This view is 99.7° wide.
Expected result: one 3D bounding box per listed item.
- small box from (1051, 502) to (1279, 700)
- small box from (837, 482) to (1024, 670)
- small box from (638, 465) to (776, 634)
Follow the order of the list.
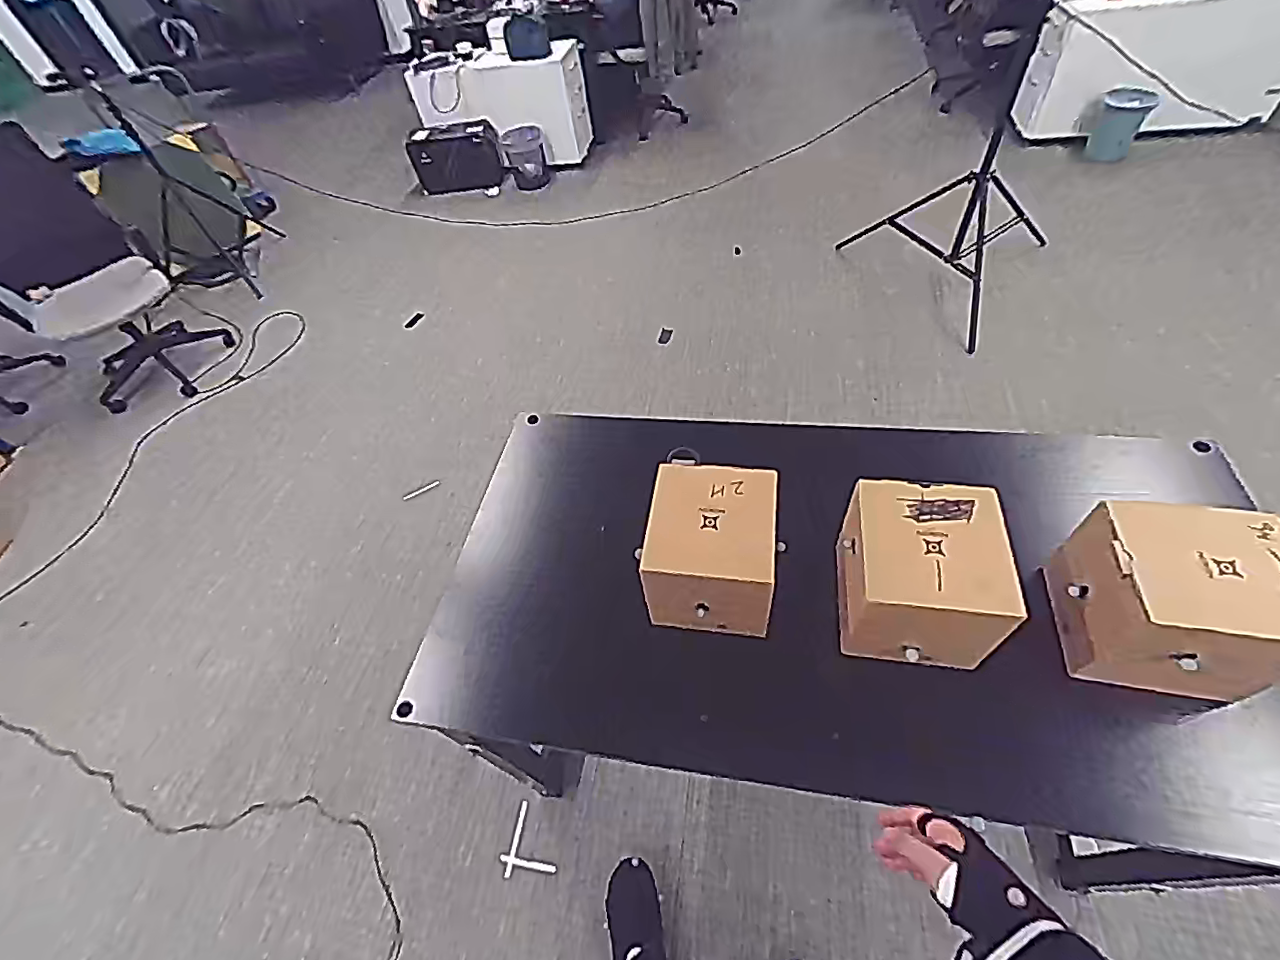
[{"bbox_3d":[0.633,0.147,0.650,0.179,0.176,0.168,5,53,14],"label":"small box"},{"bbox_3d":[0.358,0.126,0.709,0.168,0.176,0.179,4,53,12],"label":"small box"},{"bbox_3d":[0.101,0.101,0.767,0.168,0.176,0.179,4,53,11],"label":"small box"}]
